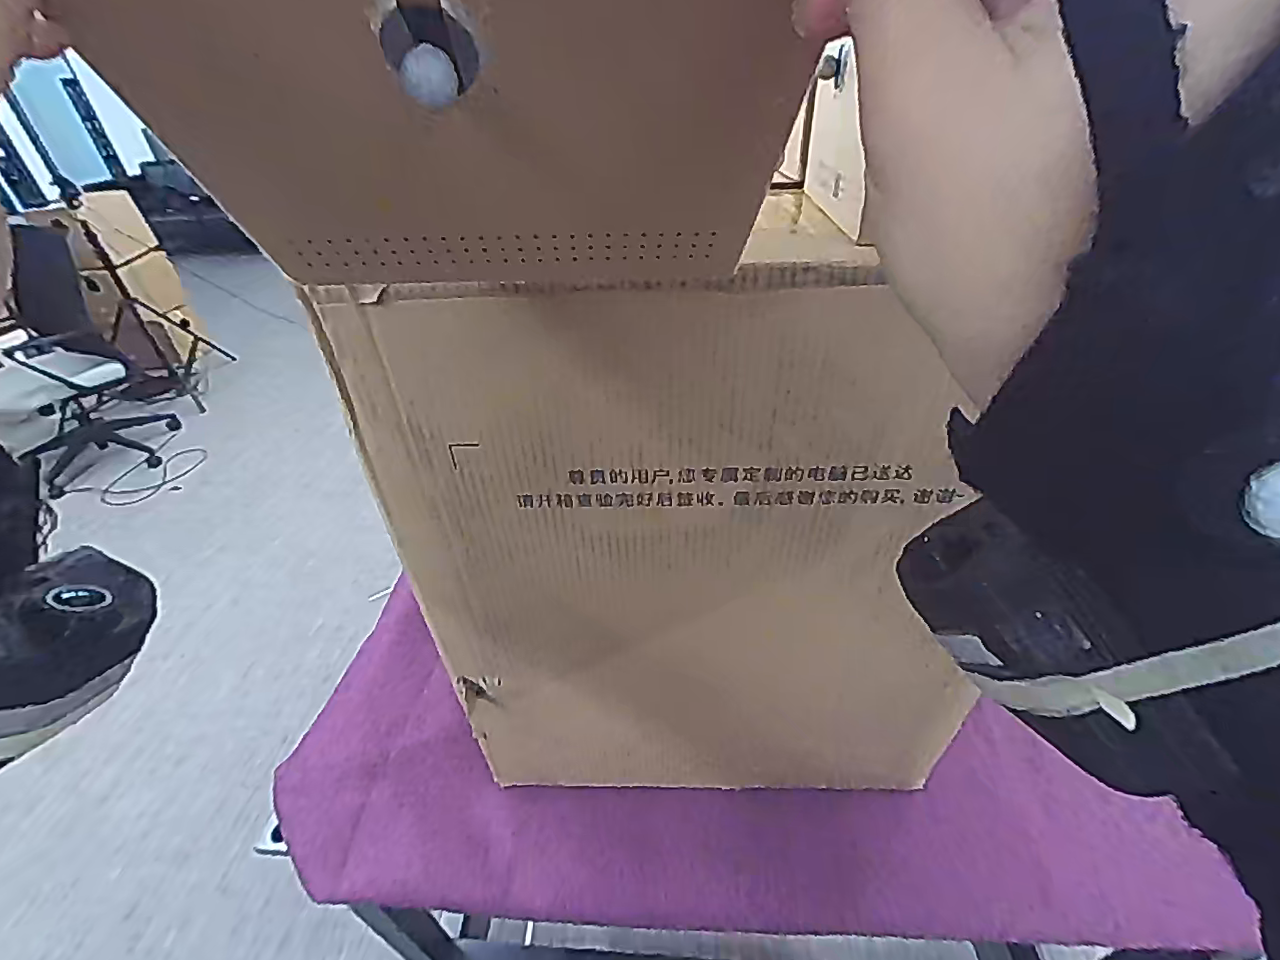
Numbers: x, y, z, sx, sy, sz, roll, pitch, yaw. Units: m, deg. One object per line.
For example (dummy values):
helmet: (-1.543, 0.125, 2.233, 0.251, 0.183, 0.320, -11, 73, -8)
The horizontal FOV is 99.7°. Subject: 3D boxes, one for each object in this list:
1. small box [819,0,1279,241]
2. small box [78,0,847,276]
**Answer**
small box: (0.209, -0.243, 0.308, 0.179, 0.176, 0.168, 0, 38, 4)
small box: (-0.040, -0.177, 0.154, 0.179, 0.176, 0.168, -3, 76, -4)
